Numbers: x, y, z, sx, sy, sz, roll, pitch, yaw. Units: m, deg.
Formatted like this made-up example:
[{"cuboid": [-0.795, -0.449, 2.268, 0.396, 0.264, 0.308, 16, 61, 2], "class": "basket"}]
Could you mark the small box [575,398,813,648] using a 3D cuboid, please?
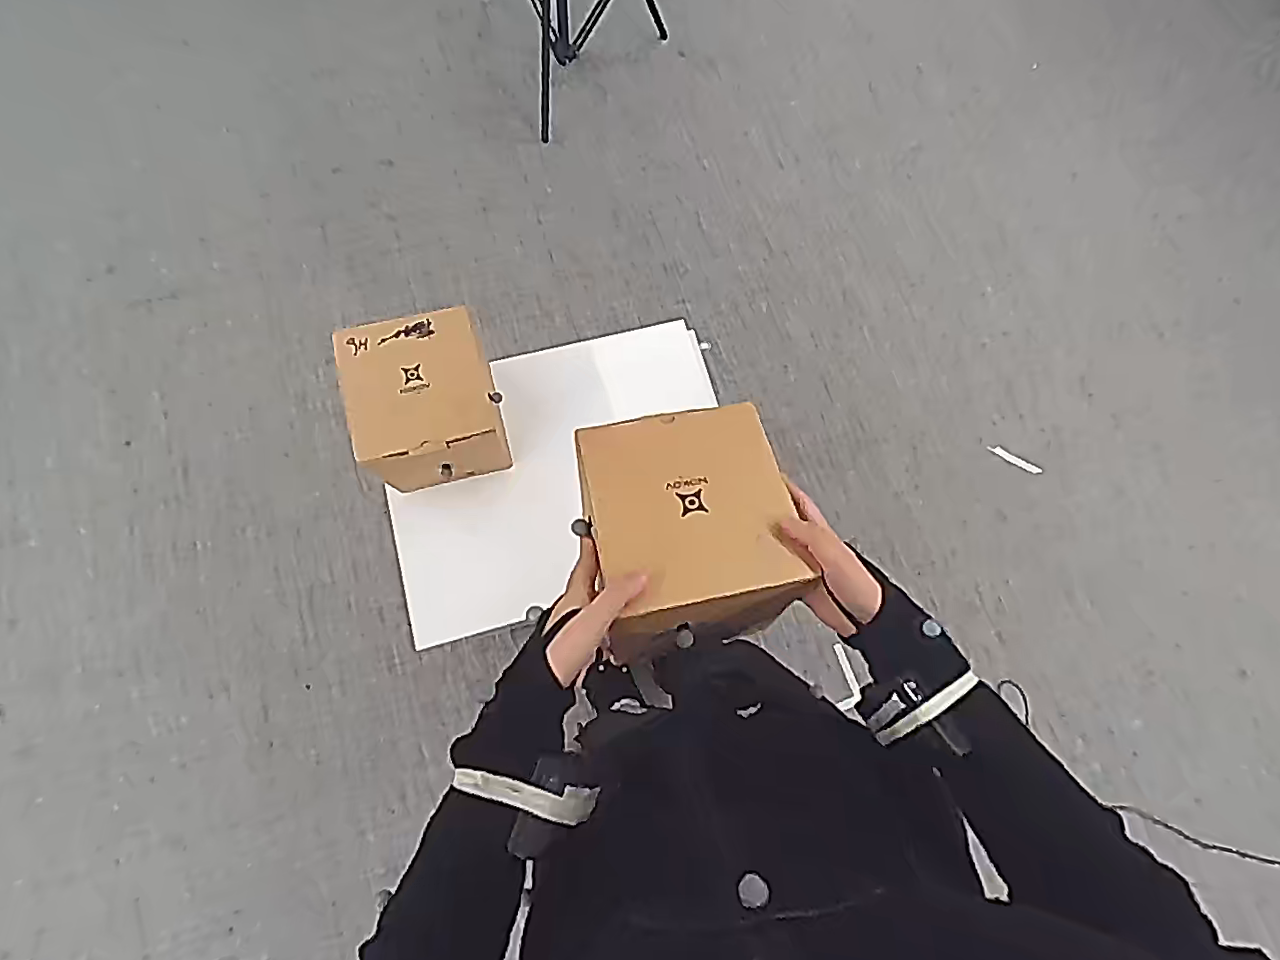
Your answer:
[{"cuboid": [0.037, 0.051, 0.518, 0.168, 0.176, 0.179, -10, 61, -9], "class": "small box"}]

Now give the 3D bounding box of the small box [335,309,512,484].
[{"cuboid": [-0.280, -0.101, 0.735, 0.168, 0.176, 0.179, -15, 80, -9], "class": "small box"}]
